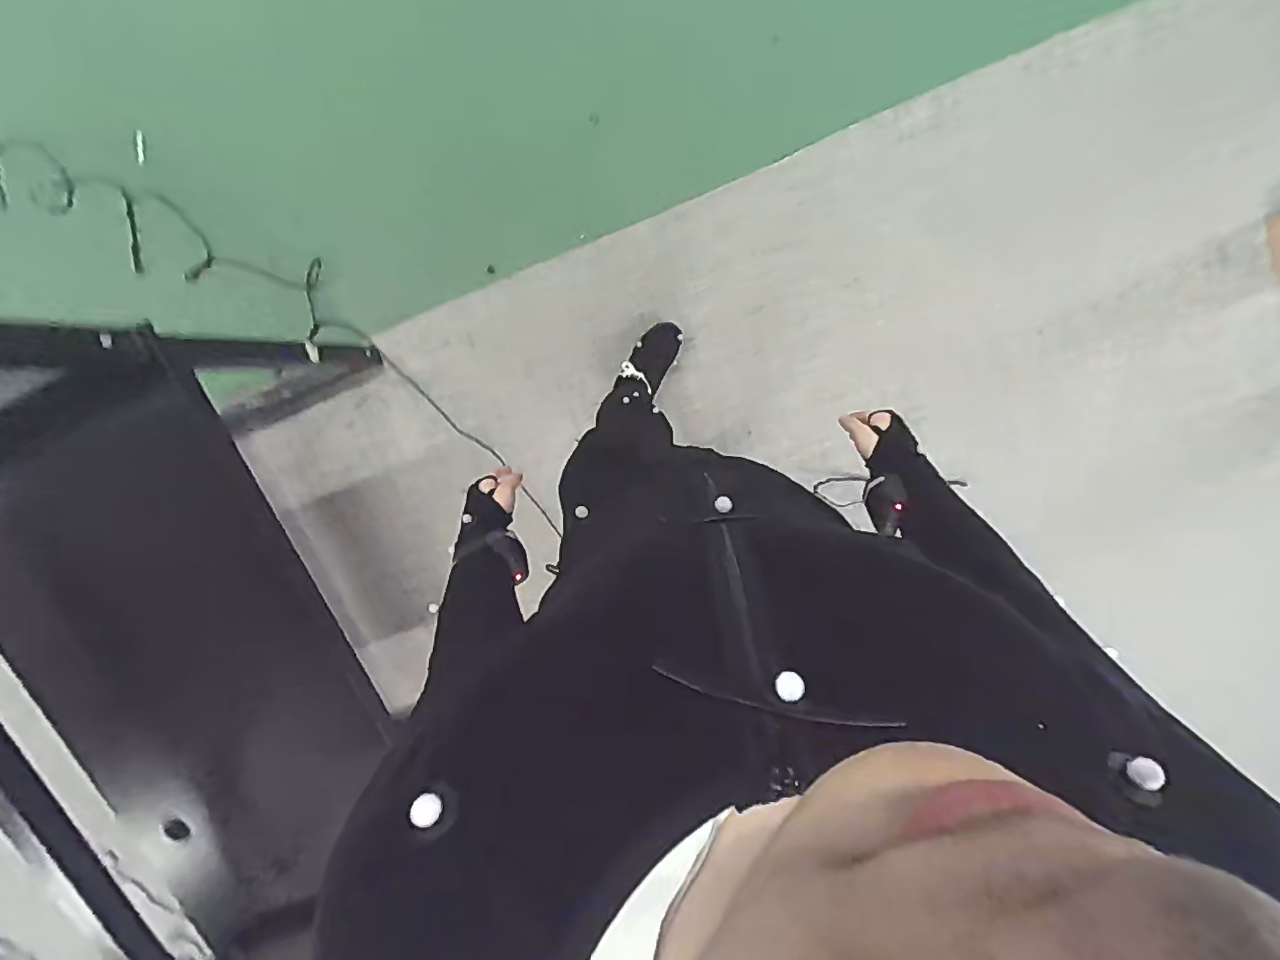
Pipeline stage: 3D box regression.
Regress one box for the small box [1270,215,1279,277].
[{"bbox_3d":[1.754,-0.622,1.352,0.168,0.176,0.179,-22,101,6],"label":"small box"}]
